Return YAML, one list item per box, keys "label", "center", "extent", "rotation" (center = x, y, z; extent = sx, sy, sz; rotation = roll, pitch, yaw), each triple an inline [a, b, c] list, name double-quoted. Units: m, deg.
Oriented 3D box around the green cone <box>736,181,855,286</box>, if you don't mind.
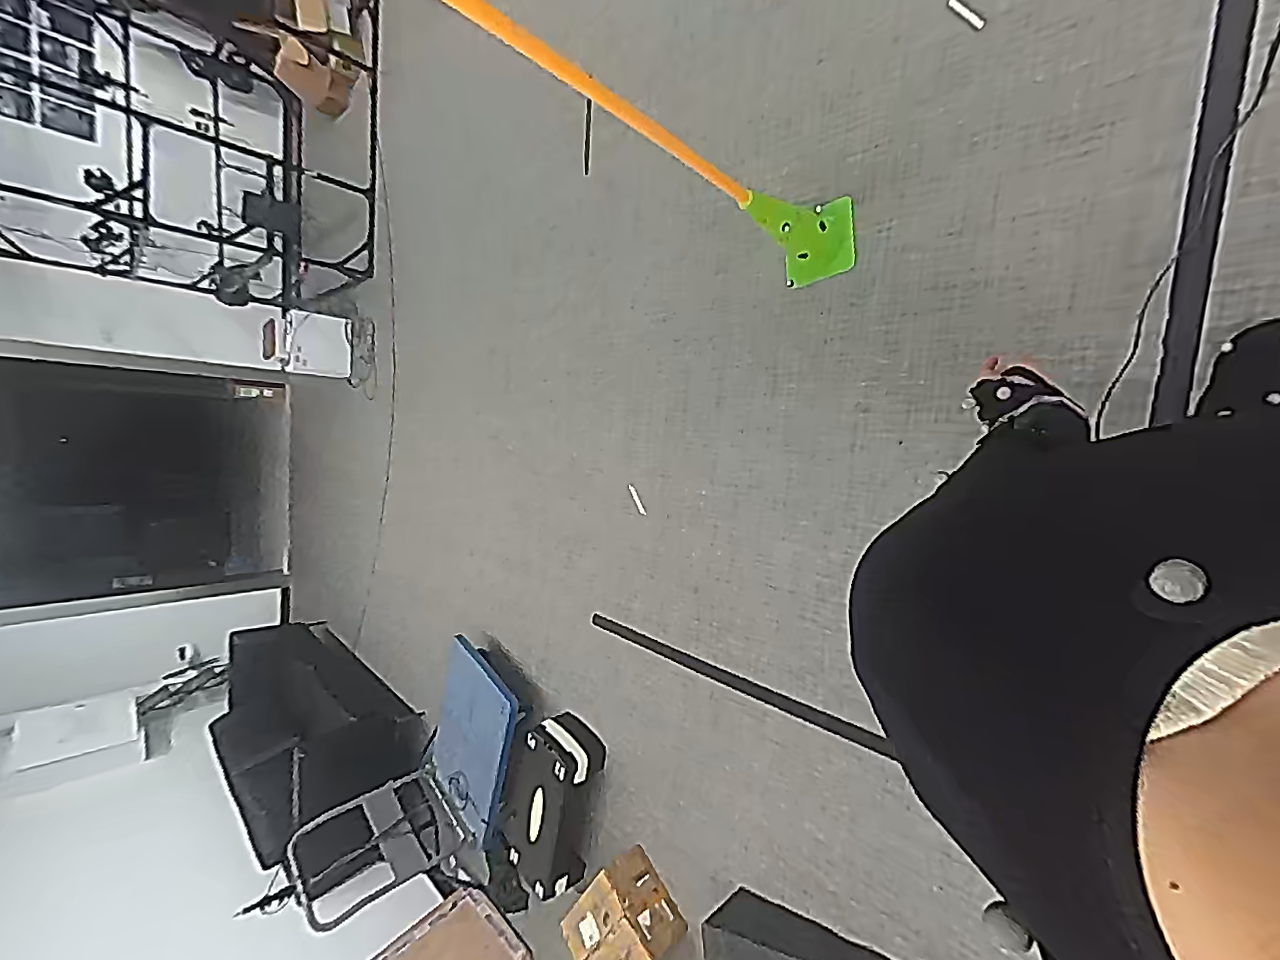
- label: "green cone"
  center: [0.368, -0.658, 1.363]
  extent: [0.200, 0.368, 0.202]
  rotation: [-6, 85, 45]
